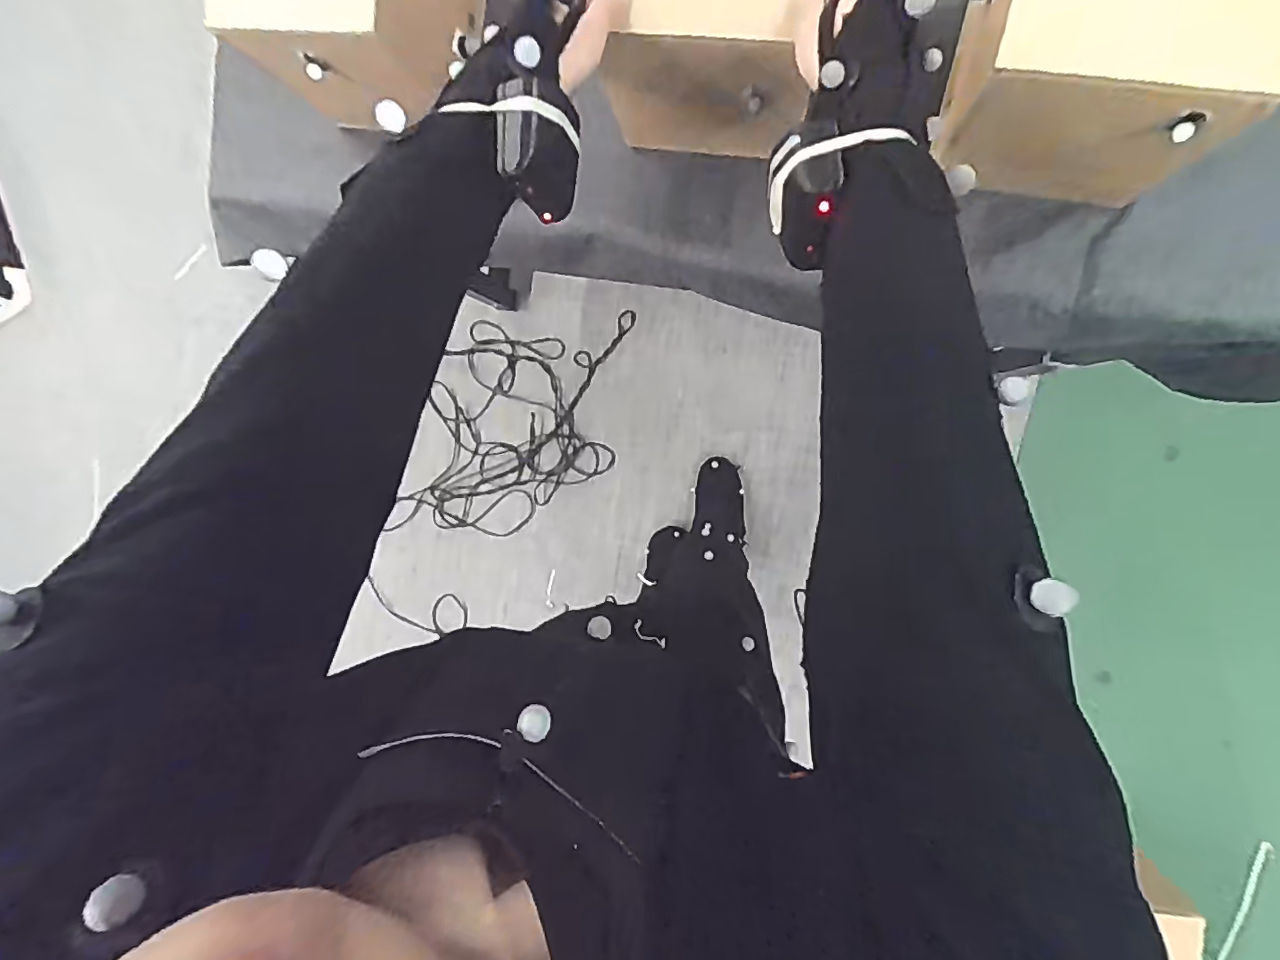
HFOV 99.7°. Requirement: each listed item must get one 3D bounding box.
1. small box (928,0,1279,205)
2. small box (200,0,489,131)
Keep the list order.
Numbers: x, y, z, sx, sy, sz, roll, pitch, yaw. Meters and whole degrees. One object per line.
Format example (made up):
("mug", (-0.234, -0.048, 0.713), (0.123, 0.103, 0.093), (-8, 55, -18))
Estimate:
("small box", (0.348, -0.332, 0.410), (0.179, 0.176, 0.168), (13, 98, 11))
("small box", (-0.271, -0.468, 0.523), (0.179, 0.176, 0.168), (10, 99, 9))
